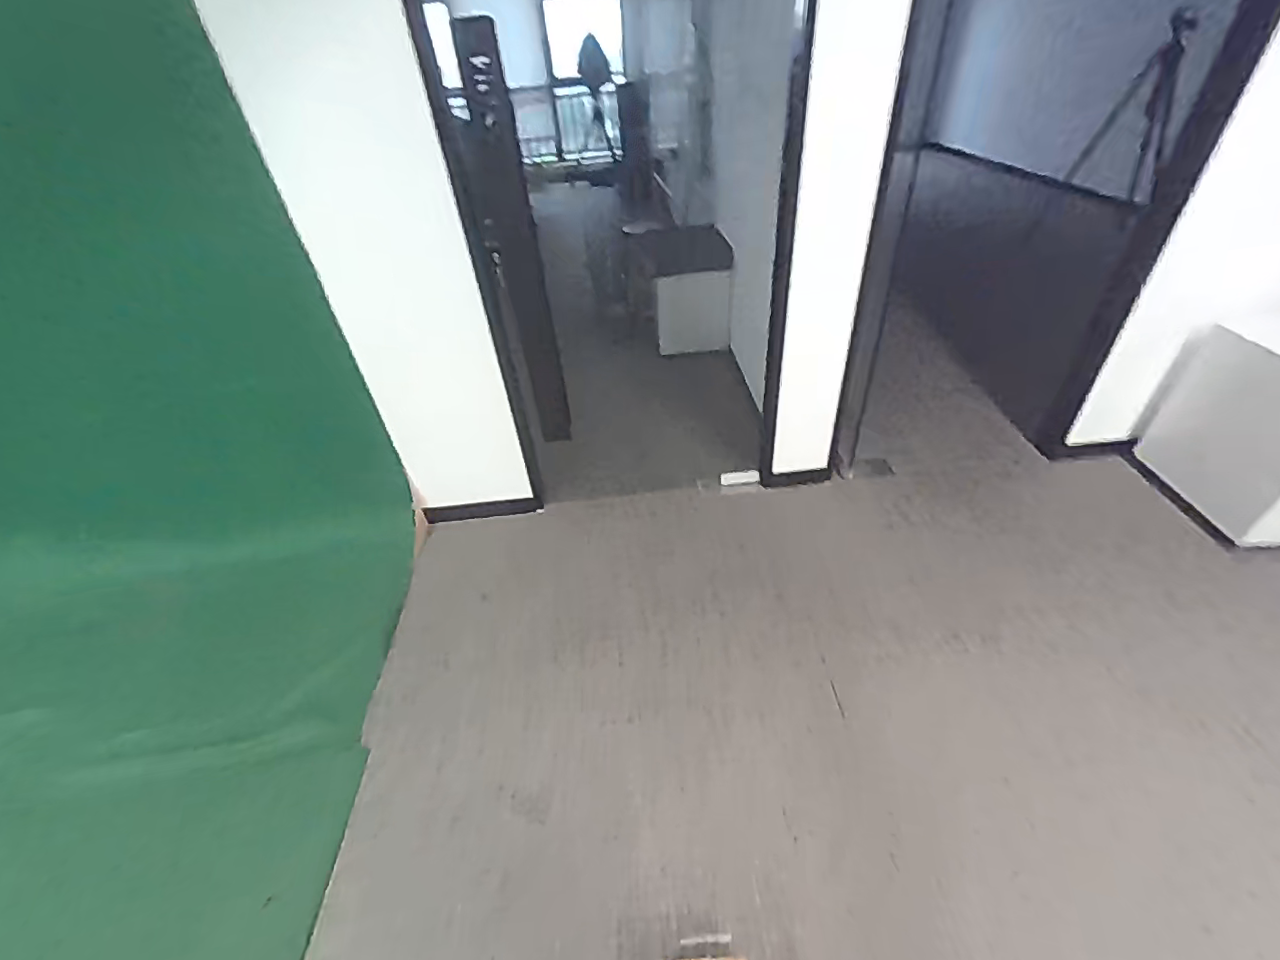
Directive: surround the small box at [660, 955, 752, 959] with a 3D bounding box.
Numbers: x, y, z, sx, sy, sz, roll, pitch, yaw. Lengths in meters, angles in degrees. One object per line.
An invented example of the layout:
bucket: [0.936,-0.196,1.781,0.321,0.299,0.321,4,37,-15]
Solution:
small box: [0.129,1.004,1.001,0.179,0.176,0.168,-5,39,3]
